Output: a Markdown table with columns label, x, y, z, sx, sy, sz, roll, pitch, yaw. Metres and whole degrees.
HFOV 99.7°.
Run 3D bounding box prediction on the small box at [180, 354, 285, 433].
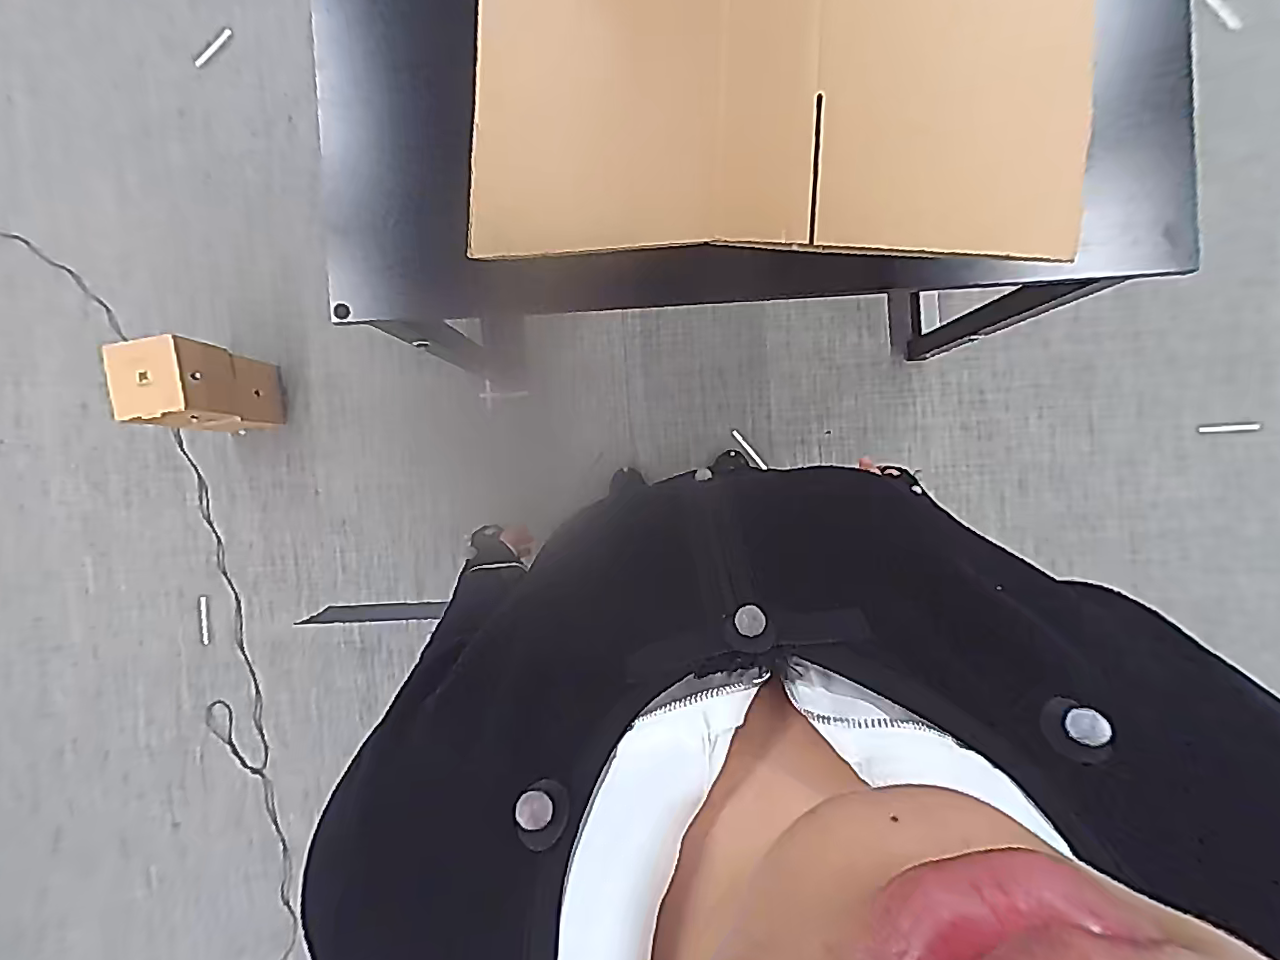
| label | x | y | z | sx | sy | sz | roll | pitch | yaw |
| --- | --- | --- | --- | --- | --- | --- | --- | --- | --- |
| small box | -1.093 | -0.225 | 1.447 | 0.168 | 0.176 | 0.179 | -7 | 92 | 2 |

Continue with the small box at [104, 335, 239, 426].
| label | x | y | z | sx | sy | sz | roll | pitch | yaw |
| --- | --- | --- | --- | --- | --- | --- | --- | --- | --- |
| small box | -1.100 | -0.227 | 1.285 | 0.168 | 0.176 | 0.179 | -10 | 90 | 1 |
